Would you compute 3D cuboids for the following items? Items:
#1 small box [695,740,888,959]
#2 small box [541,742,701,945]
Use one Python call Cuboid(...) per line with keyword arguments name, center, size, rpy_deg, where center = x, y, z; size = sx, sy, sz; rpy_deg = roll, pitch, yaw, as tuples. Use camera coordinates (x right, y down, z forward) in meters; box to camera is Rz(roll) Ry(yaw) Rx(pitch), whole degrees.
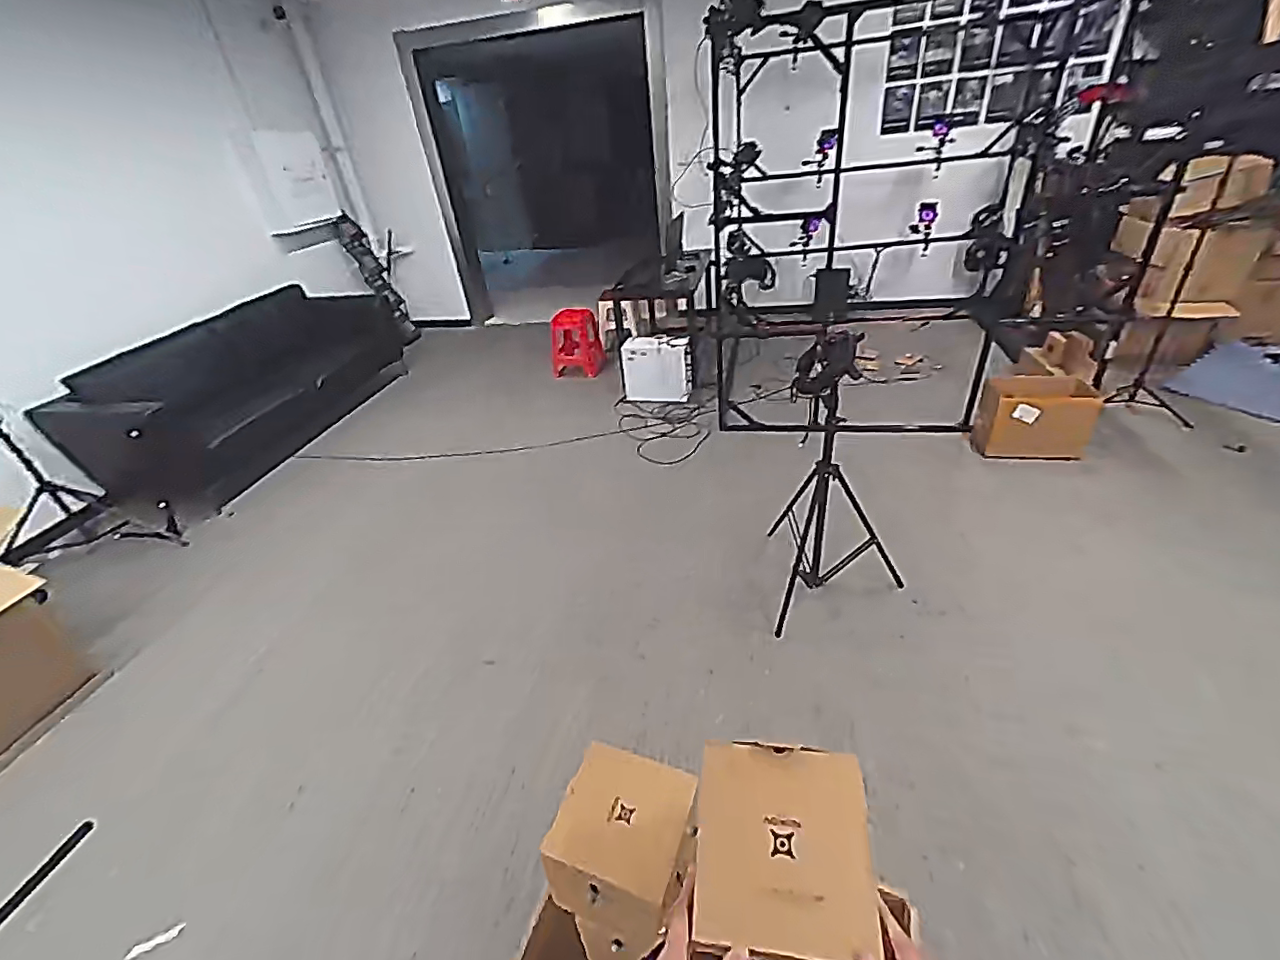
Cuboid(name="small box", center=(0.147, 0.404, 0.576), size=(0.168, 0.176, 0.179), rpy_deg=(0, 47, 10))
Cuboid(name="small box", center=(-0.016, 0.522, 0.779), size=(0.179, 0.176, 0.168), rpy_deg=(9, 35, 20))
